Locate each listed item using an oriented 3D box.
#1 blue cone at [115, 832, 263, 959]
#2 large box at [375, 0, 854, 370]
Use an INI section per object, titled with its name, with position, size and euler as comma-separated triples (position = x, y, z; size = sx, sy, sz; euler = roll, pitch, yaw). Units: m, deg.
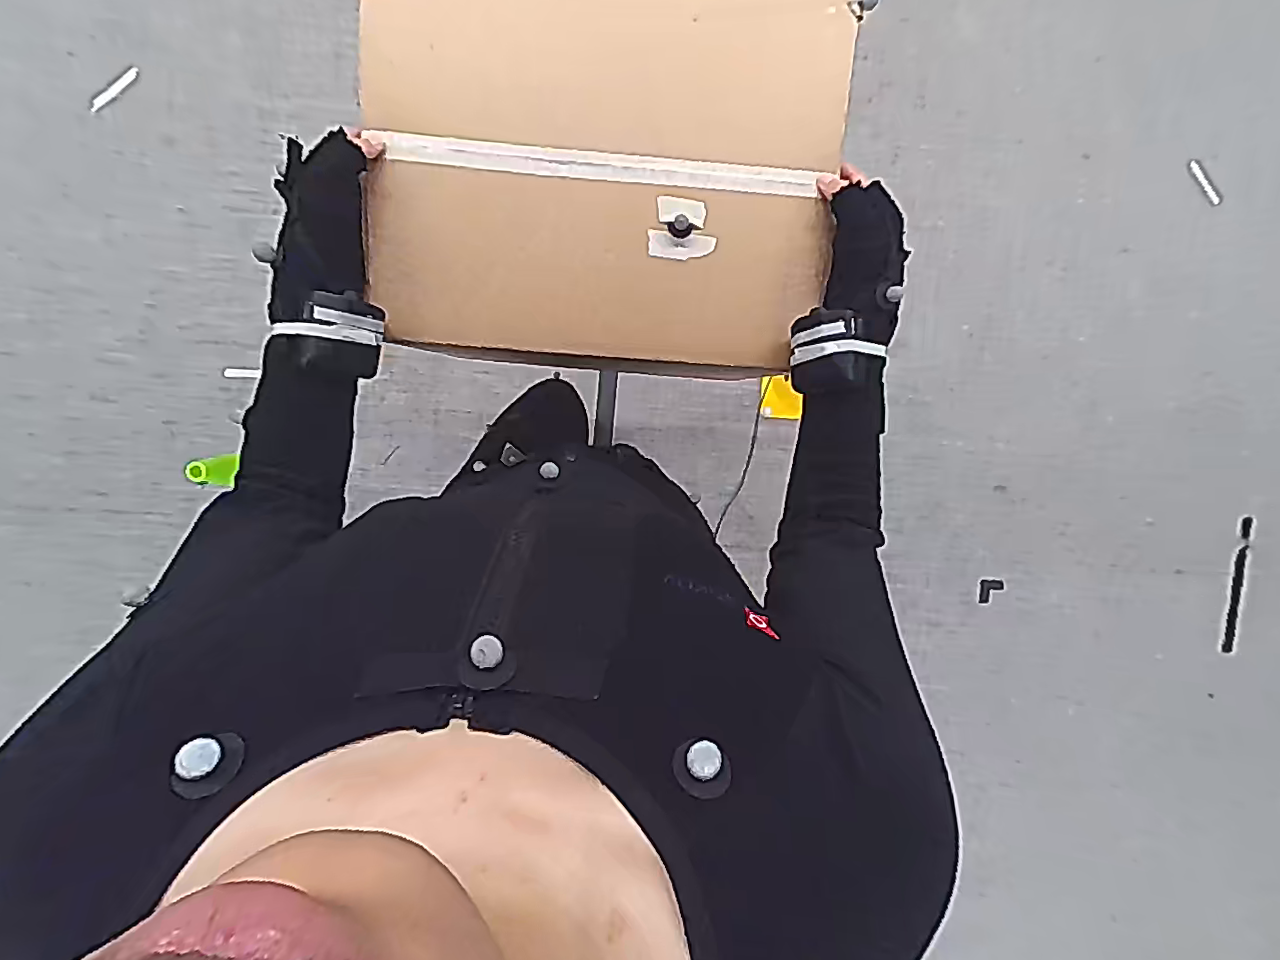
[blue cone]
position = -1.131, 1.071, 1.320
size = 0.192, 0.380, 0.193
euler = 7, 92, -1
[large box]
position = -0.034, -0.298, 0.612
size = 0.408, 0.320, 0.320
euler = 3, 99, -4
